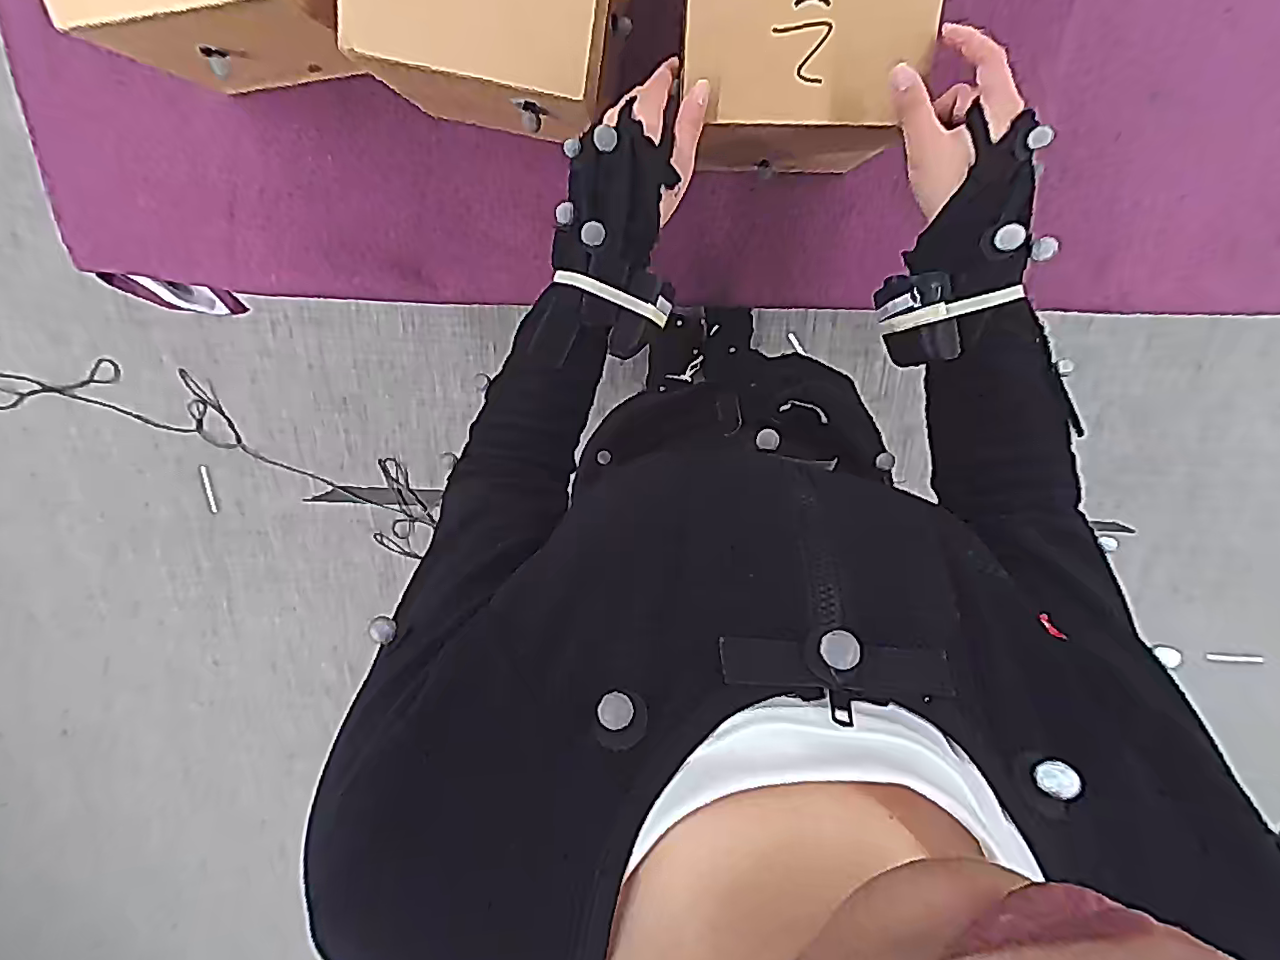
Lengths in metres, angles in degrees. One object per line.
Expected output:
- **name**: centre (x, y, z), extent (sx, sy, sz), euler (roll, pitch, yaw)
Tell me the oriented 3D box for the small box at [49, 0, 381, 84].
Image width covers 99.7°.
- **small box**: centre (-0.332, -0.434, 0.416), extent (0.168, 0.176, 0.179), euler (-6, 111, 5)
